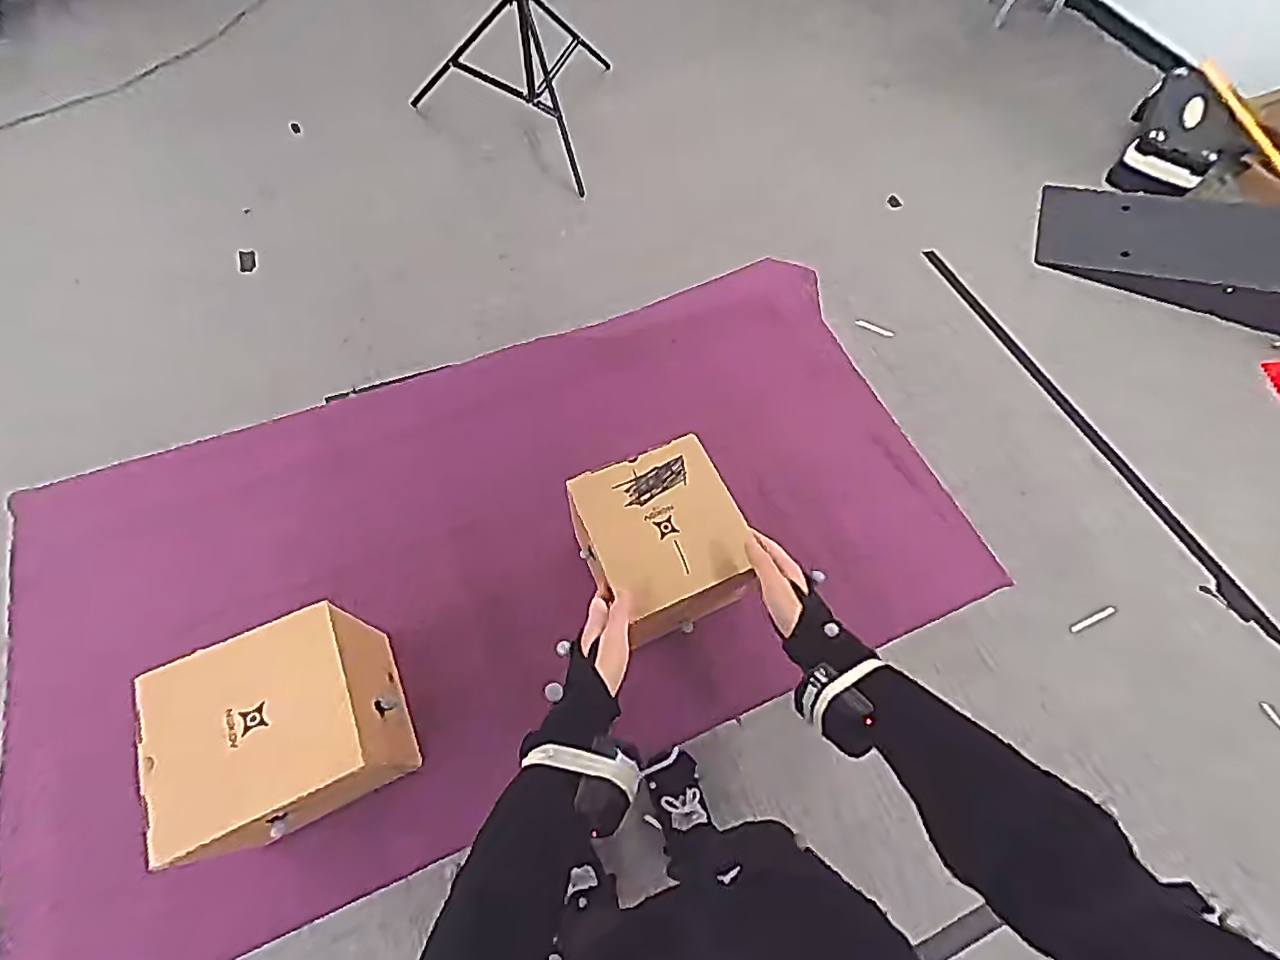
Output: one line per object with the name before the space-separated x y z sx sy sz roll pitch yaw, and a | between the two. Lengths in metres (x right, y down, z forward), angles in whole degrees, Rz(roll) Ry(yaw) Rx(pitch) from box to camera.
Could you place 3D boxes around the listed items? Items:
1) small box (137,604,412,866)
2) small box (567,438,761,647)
small box | -0.358 0.254 0.563 0.179 0.176 0.168 -23 67 -13
small box | 0.019 0.082 0.664 0.168 0.176 0.179 -21 67 -12
